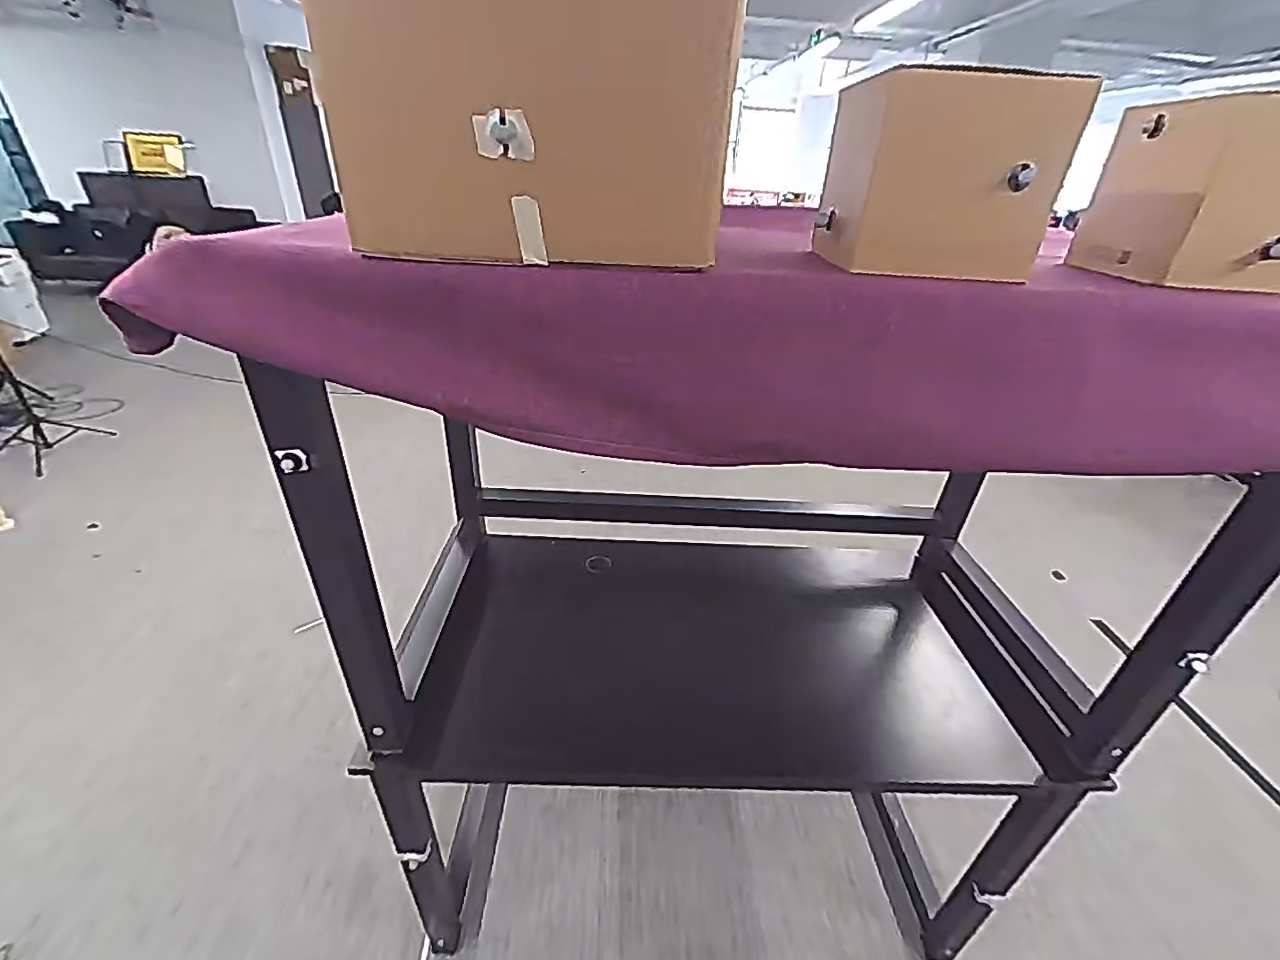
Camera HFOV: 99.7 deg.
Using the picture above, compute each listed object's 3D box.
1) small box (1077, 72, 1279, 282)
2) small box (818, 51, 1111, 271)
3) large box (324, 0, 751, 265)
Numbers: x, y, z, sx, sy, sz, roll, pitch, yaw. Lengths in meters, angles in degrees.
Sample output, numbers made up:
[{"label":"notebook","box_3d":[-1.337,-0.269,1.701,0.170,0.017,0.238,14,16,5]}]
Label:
[{"label":"small box","box_3d":[0.624,-0.308,0.567,0.179,0.176,0.168,5,29,3]},{"label":"small box","box_3d":[0.301,-0.313,0.551,0.179,0.176,0.168,3,29,0]},{"label":"large box","box_3d":[-0.085,-0.414,0.555,0.320,0.320,0.408,1,29,-4]}]
